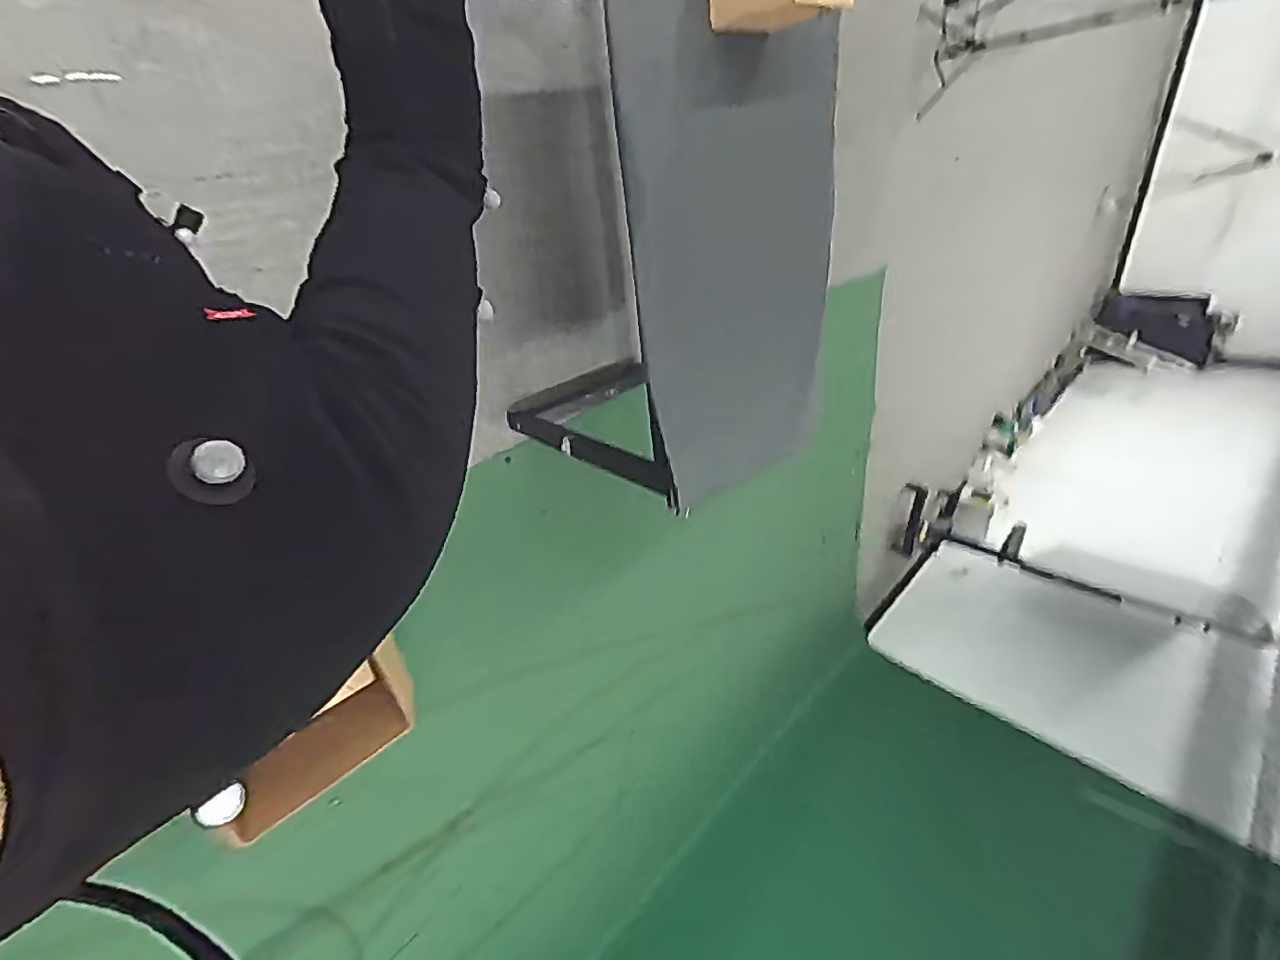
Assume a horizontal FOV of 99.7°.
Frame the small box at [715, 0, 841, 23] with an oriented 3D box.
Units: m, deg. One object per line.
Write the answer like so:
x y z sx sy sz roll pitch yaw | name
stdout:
0.228 -0.843 0.850 0.179 0.176 0.168 -32 129 -32 | small box
